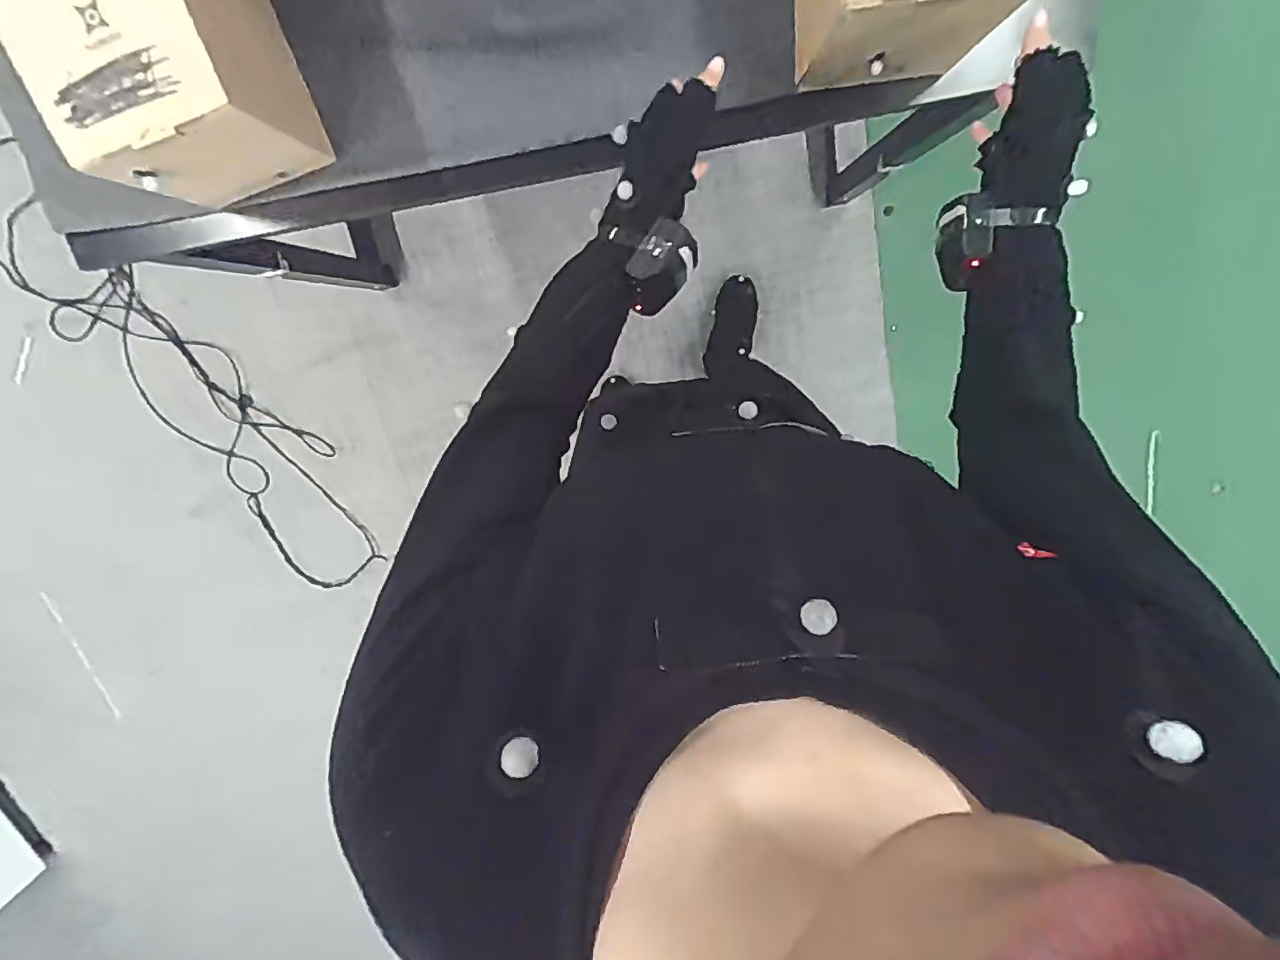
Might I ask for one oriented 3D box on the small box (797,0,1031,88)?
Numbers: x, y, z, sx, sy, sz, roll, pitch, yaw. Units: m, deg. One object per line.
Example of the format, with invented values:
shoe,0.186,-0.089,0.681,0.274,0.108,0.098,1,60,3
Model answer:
small box,0.246,-0.500,0.497,0.168,0.176,0.179,-4,107,3
